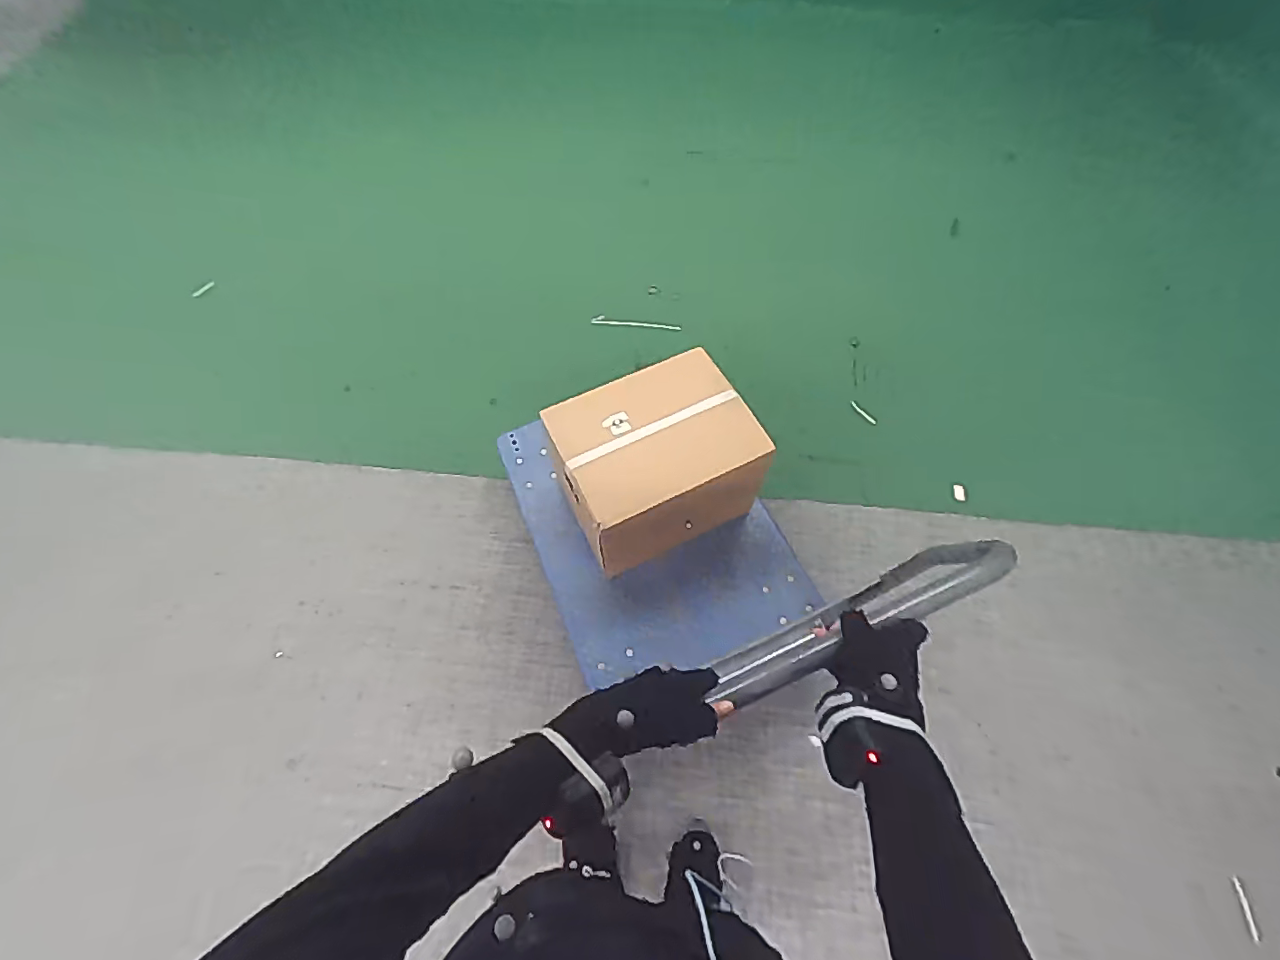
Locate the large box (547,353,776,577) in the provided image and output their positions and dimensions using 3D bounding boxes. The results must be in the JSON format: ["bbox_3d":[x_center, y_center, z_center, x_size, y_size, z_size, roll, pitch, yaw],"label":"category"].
[{"bbox_3d":[0.043,-0.026,1.276,0.408,0.320,0.320,-25,65,-12],"label":"large box"}]
